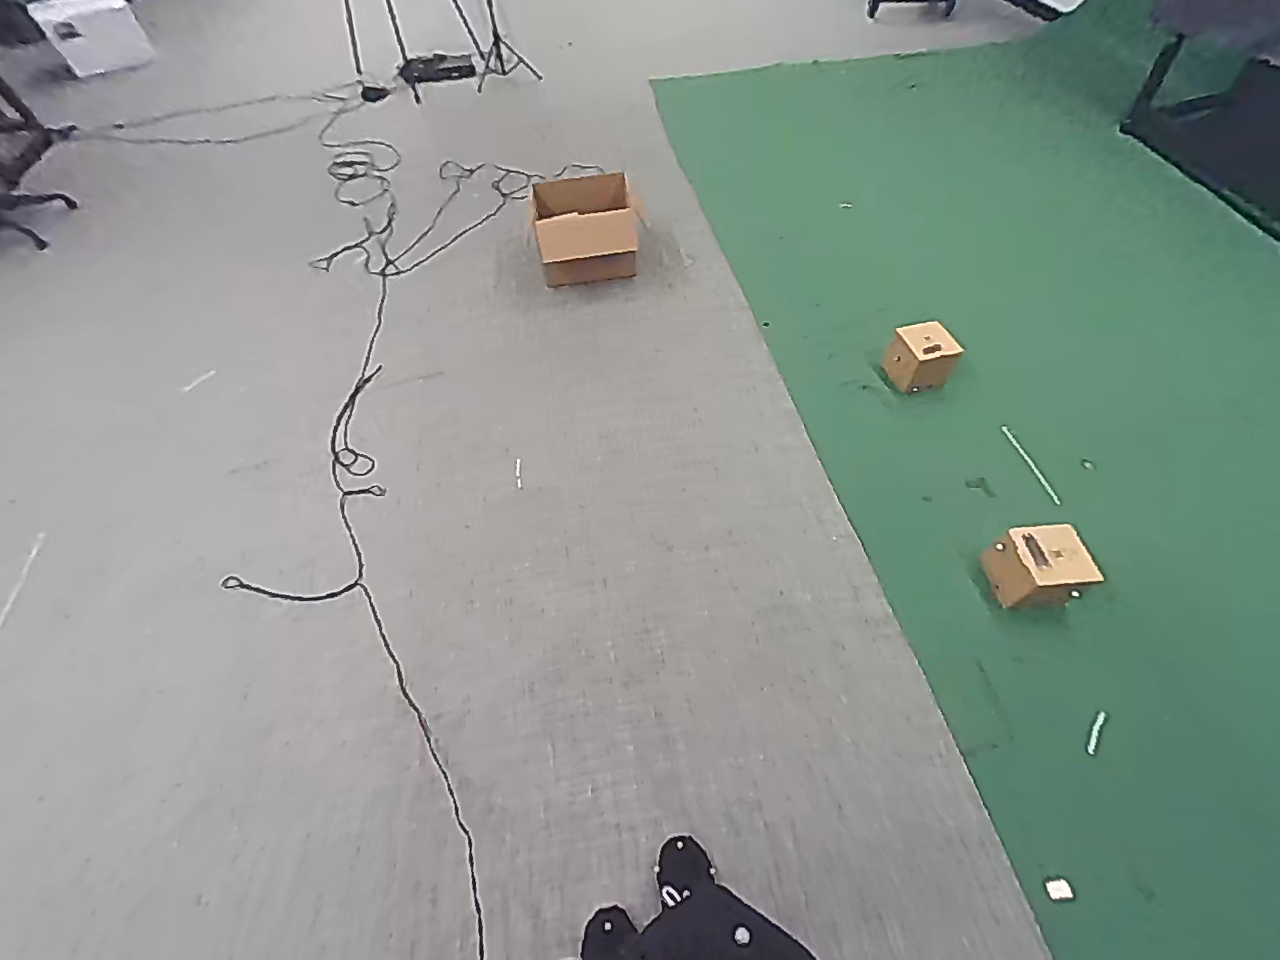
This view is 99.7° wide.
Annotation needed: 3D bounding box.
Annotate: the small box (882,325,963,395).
[{"bbox_3d":[0.999,-0.421,1.929,0.168,0.176,0.179,-12,54,-6],"label":"small box"}]
